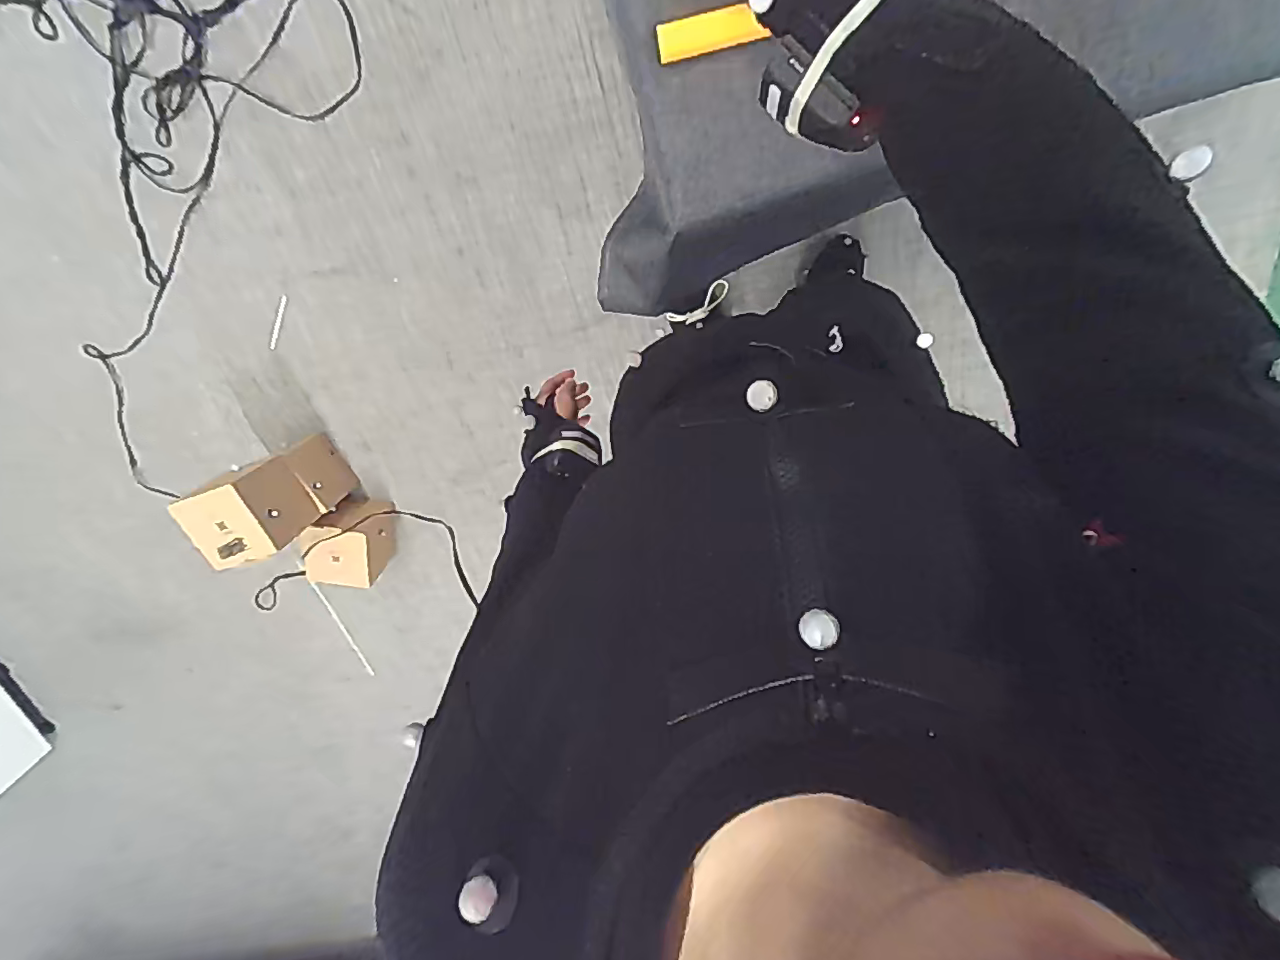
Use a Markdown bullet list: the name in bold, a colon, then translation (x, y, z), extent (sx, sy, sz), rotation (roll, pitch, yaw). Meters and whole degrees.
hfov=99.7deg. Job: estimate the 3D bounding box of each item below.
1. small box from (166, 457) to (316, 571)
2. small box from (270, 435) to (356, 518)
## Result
- **small box**: translation (-0.880, 0.073, 1.215), extent (0.168, 0.176, 0.179), rotation (-17, 113, 9)
- **small box**: translation (-0.868, 0.010, 1.367), extent (0.179, 0.176, 0.168), rotation (-21, 112, 11)
